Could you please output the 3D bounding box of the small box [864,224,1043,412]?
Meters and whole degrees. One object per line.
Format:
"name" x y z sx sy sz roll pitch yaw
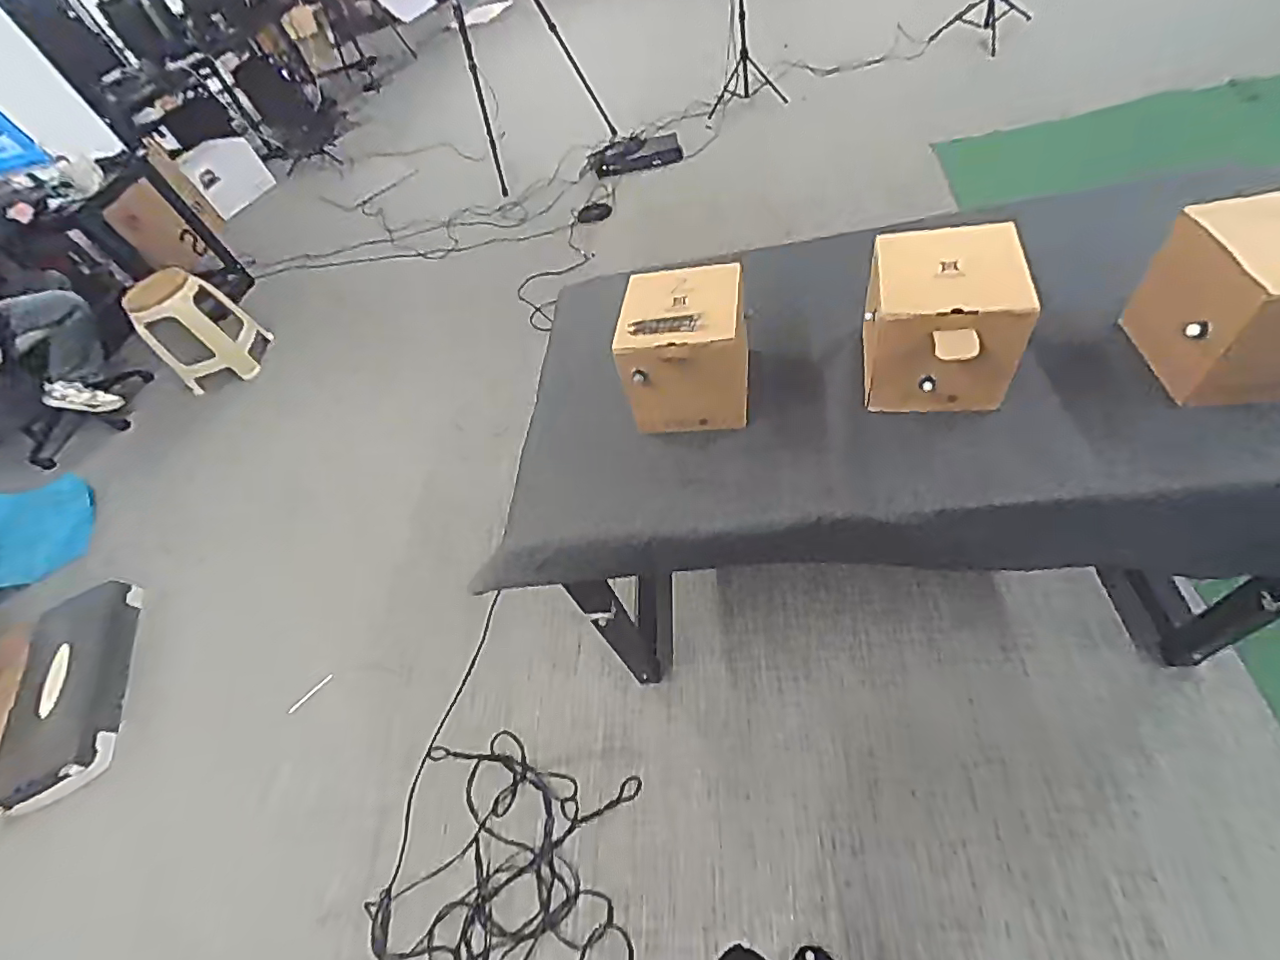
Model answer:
"small box" 0.399 -0.213 0.725 0.168 0.176 0.179 3 55 17

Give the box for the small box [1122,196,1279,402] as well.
"small box" 0.726 -0.205 0.628 0.168 0.176 0.179 -4 51 11
